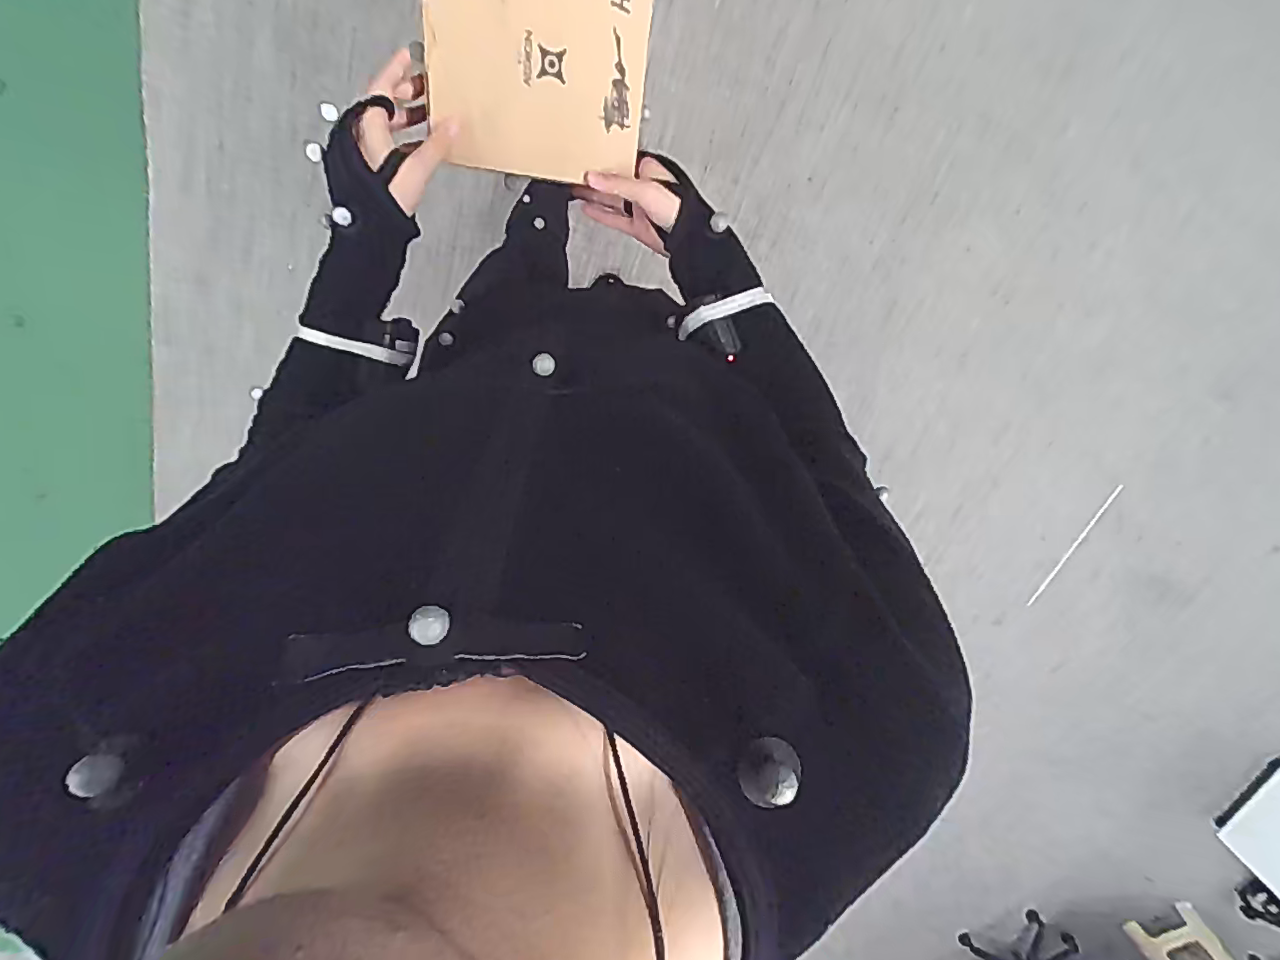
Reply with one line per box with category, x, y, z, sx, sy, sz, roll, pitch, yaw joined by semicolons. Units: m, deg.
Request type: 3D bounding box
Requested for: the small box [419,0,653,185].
small box;-0.098;-0.375;0.492;0.179;0.176;0.168;1;119;-16
